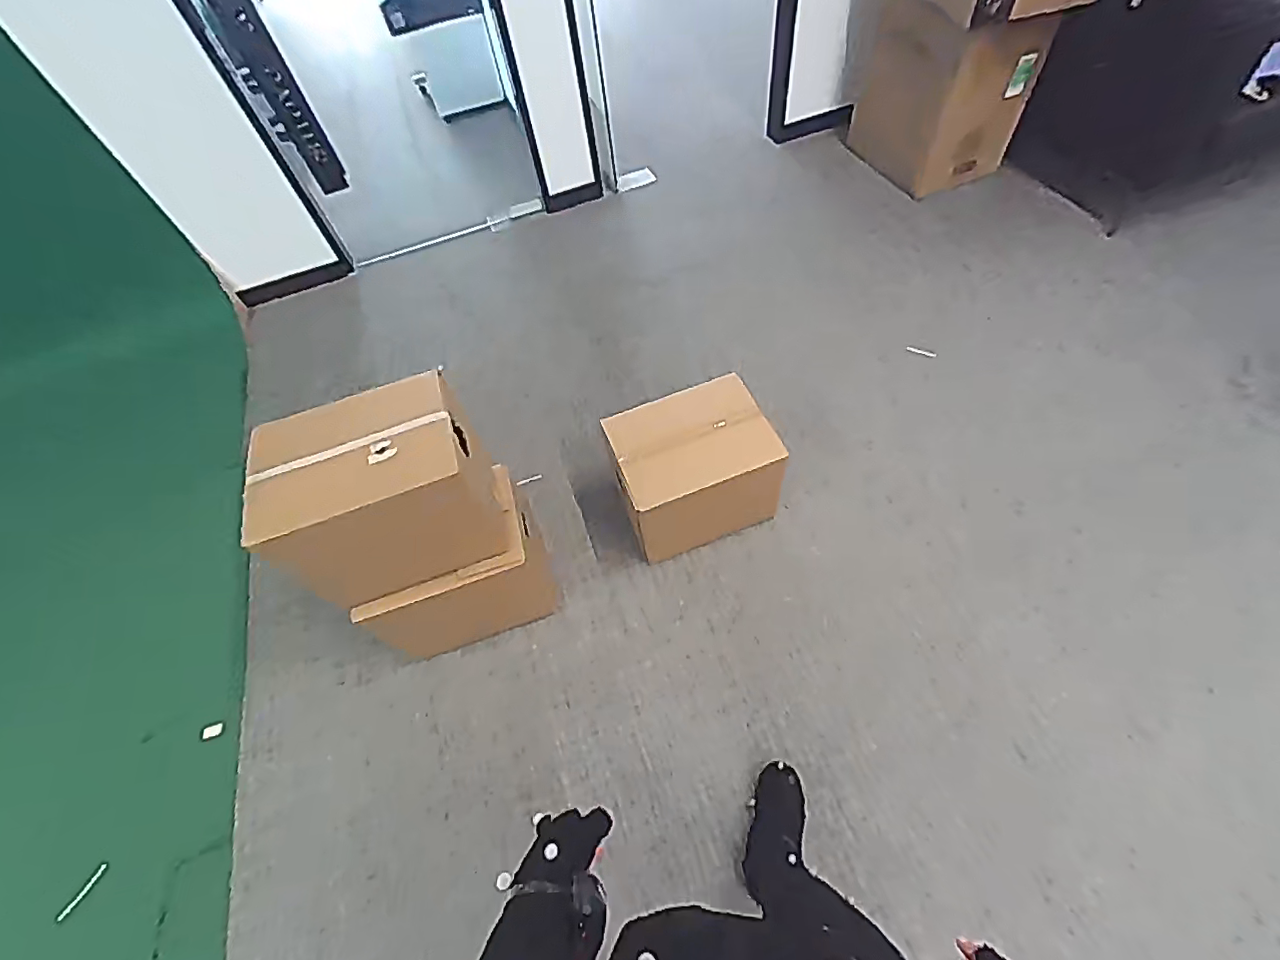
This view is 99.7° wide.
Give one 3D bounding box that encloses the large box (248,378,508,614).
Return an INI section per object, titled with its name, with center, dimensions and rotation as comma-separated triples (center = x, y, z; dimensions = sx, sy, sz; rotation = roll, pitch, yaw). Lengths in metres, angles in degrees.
[large box]
center = -0.552, 0.040, 1.196
dimensions = 0.408, 0.320, 0.320
rotation = -19, 53, -7
